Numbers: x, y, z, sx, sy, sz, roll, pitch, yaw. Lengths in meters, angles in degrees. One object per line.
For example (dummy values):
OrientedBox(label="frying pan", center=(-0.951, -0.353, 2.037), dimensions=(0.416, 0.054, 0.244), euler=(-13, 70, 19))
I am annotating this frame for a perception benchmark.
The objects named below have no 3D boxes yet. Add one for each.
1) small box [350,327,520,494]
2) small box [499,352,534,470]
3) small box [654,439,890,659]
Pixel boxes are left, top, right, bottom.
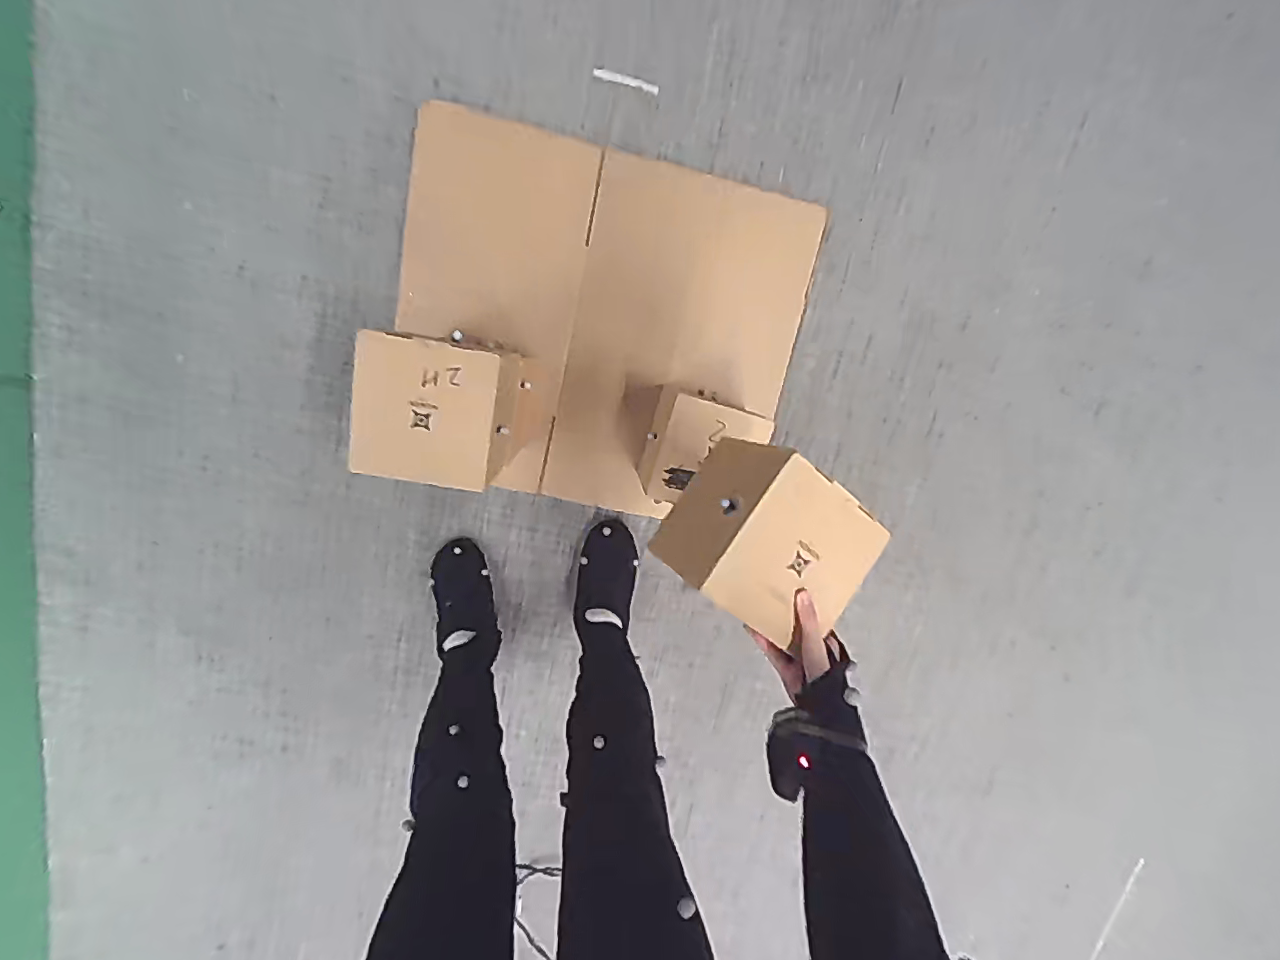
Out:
OrientedBox(label="small box", center=(-0.261, -0.097, 0.722), dimensions=(0.168, 0.176, 0.179), euler=(10, 102, -7))
OrientedBox(label="small box", center=(-0.273, -0.129, 0.883), dimensions=(0.168, 0.176, 0.179), euler=(10, 102, -7))
OrientedBox(label="small box", center=(0.142, 0.067, 0.637), dimensions=(0.168, 0.176, 0.179), euler=(37, 86, -21))
